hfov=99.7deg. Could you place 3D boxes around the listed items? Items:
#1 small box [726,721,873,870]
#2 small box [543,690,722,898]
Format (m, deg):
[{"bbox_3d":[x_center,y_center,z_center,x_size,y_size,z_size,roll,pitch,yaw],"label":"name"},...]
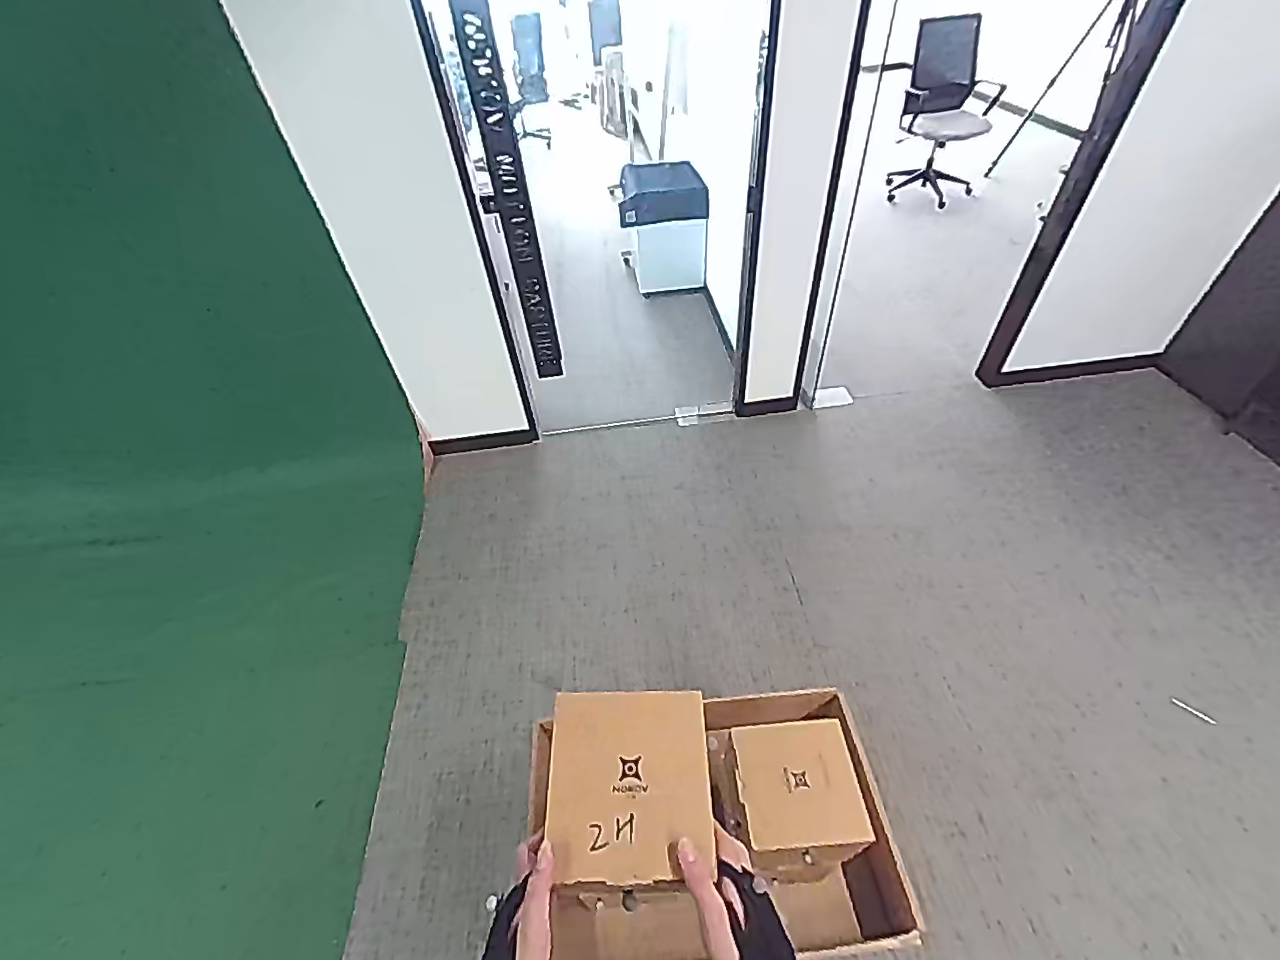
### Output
[{"bbox_3d":[0.233,0.497,0.849,0.179,0.176,0.168,-4,47,-1],"label":"small box"},{"bbox_3d":[-0.008,0.350,0.602,0.168,0.176,0.179,-1,50,-1],"label":"small box"}]
